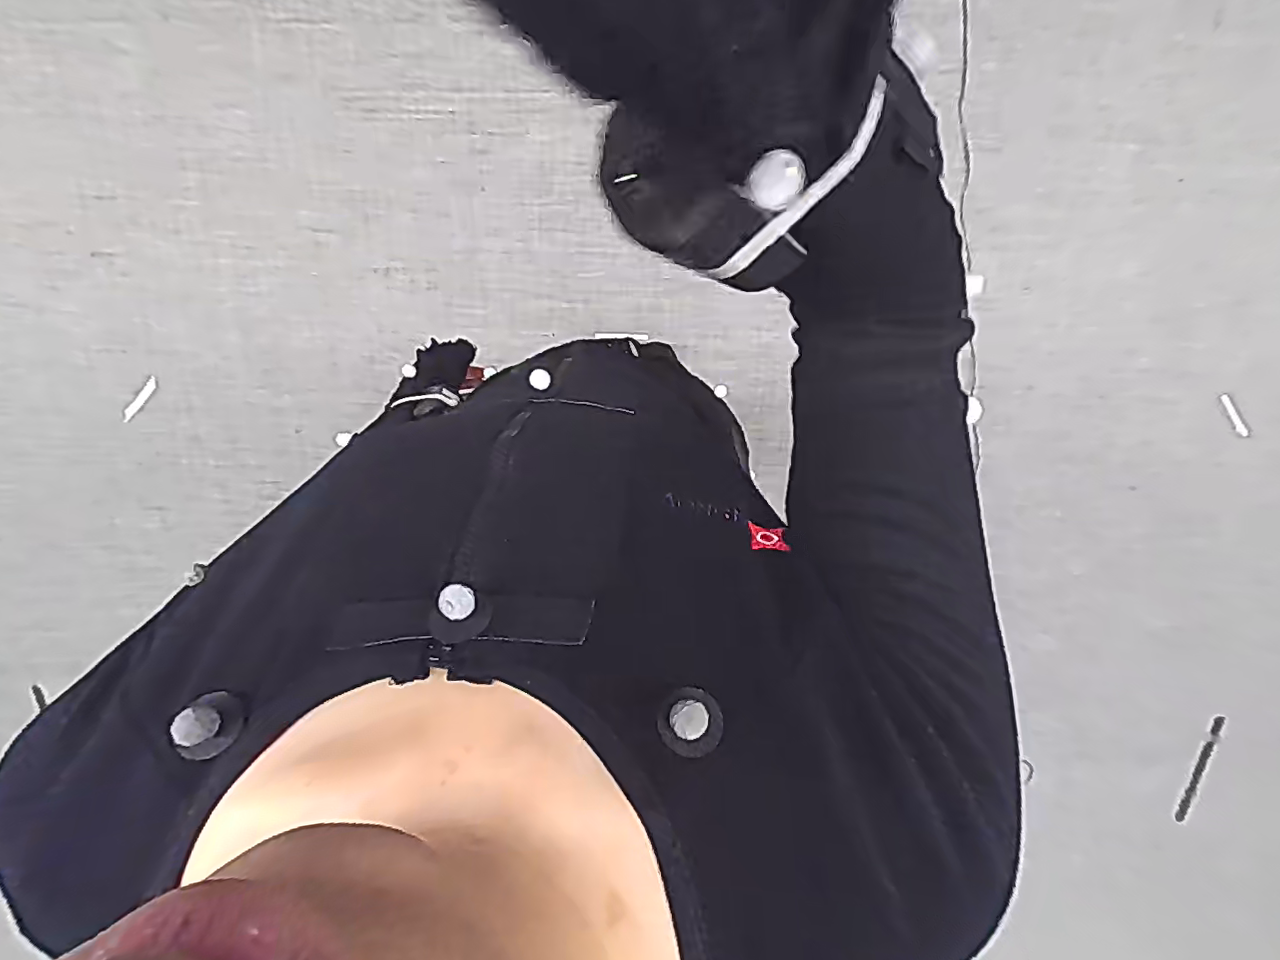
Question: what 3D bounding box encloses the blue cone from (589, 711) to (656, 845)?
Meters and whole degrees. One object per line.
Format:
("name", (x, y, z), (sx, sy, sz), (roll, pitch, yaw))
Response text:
("blue cone", (-0.060, 0.872, 1.560), (0.192, 0.380, 0.193), (18, 105, -3))
